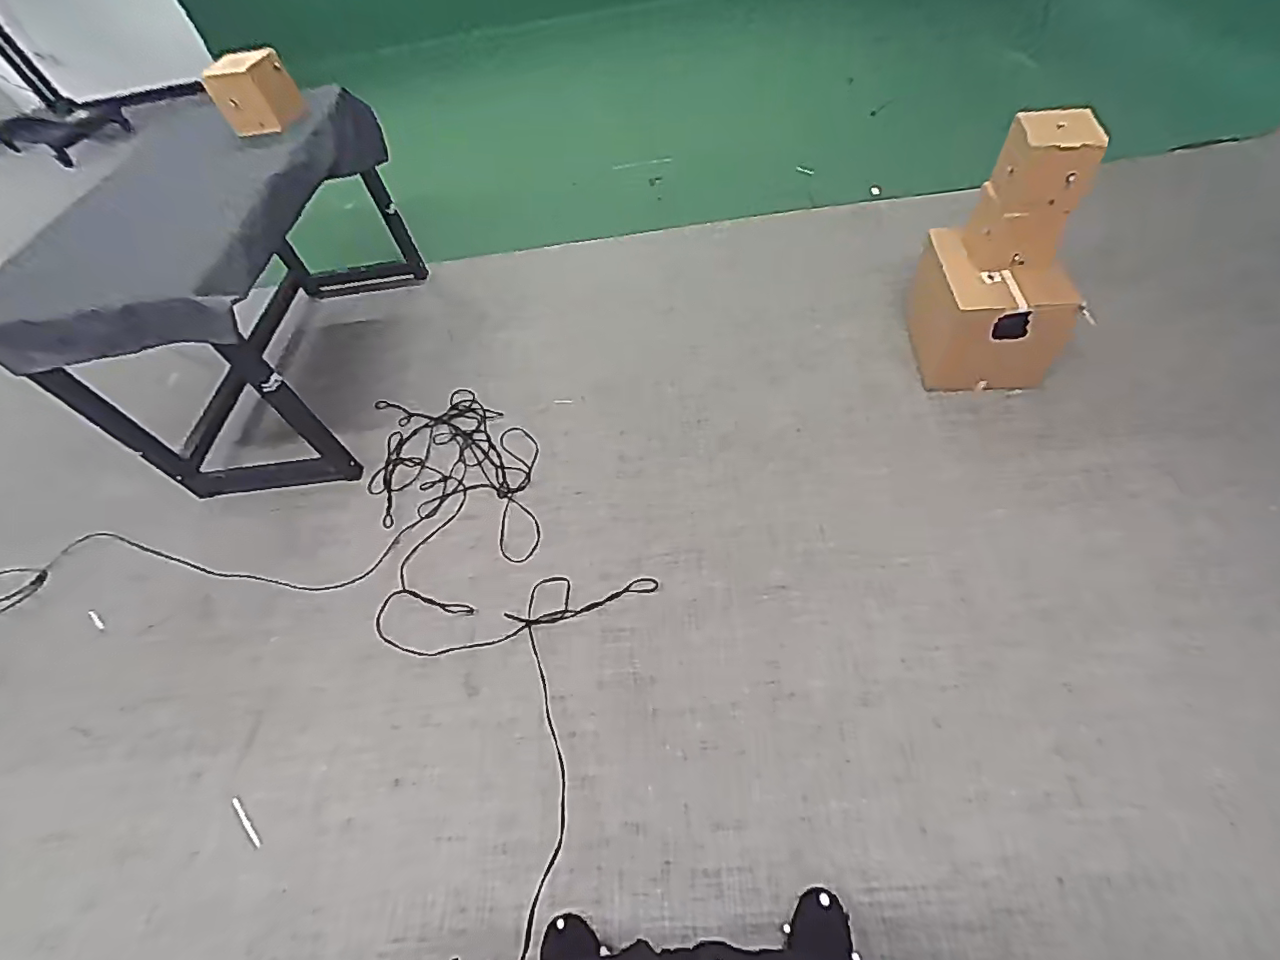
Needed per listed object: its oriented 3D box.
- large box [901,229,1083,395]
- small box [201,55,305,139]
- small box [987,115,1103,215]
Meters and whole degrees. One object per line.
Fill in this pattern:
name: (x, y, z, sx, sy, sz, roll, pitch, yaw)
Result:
large box: (1.048, -0.517, 1.676, 0.320, 0.320, 0.408, -1, 56, 9)
small box: (-1.199, -1.192, 1.695, 0.168, 0.176, 0.179, -1, 54, 9)
small box: (1.017, -0.796, 1.375, 0.168, 0.176, 0.179, 4, 55, 10)
